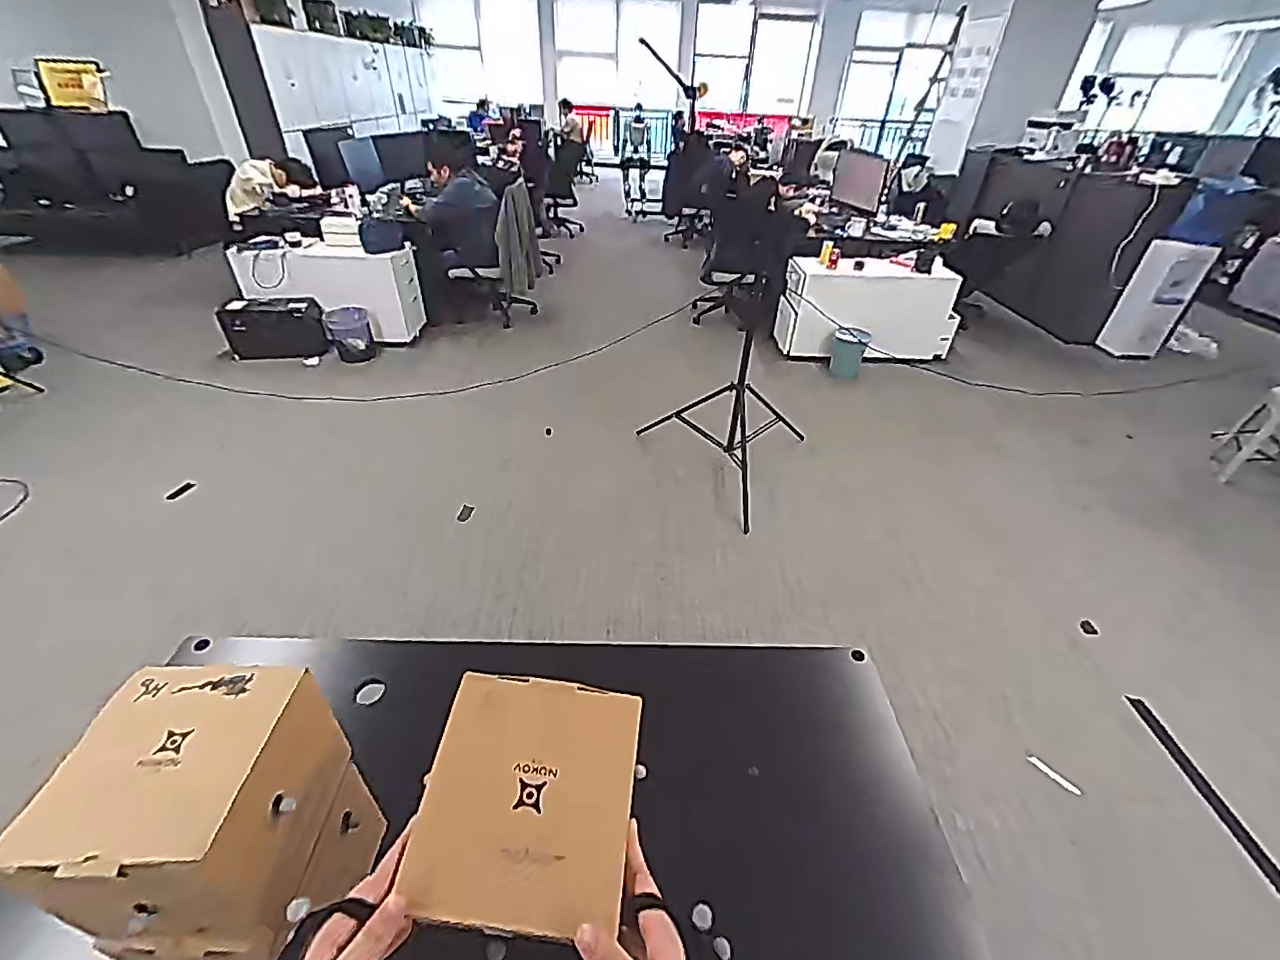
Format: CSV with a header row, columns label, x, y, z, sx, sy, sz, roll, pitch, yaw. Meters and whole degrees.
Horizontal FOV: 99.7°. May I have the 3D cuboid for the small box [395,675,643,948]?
label,x,y,z,sx,sy,sz,roll,pitch,yaw
small box,-0.093,0.302,0.494,0.168,0.176,0.179,7,51,0

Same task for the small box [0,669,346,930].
label,x,y,z,sx,sy,sz,roll,pitch,yaw
small box,-0.415,0.308,0.523,0.168,0.176,0.179,0,36,-3

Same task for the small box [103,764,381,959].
label,x,y,z,sx,sy,sz,roll,pitch,yaw
small box,-0.417,0.446,0.611,0.168,0.176,0.179,2,36,0
